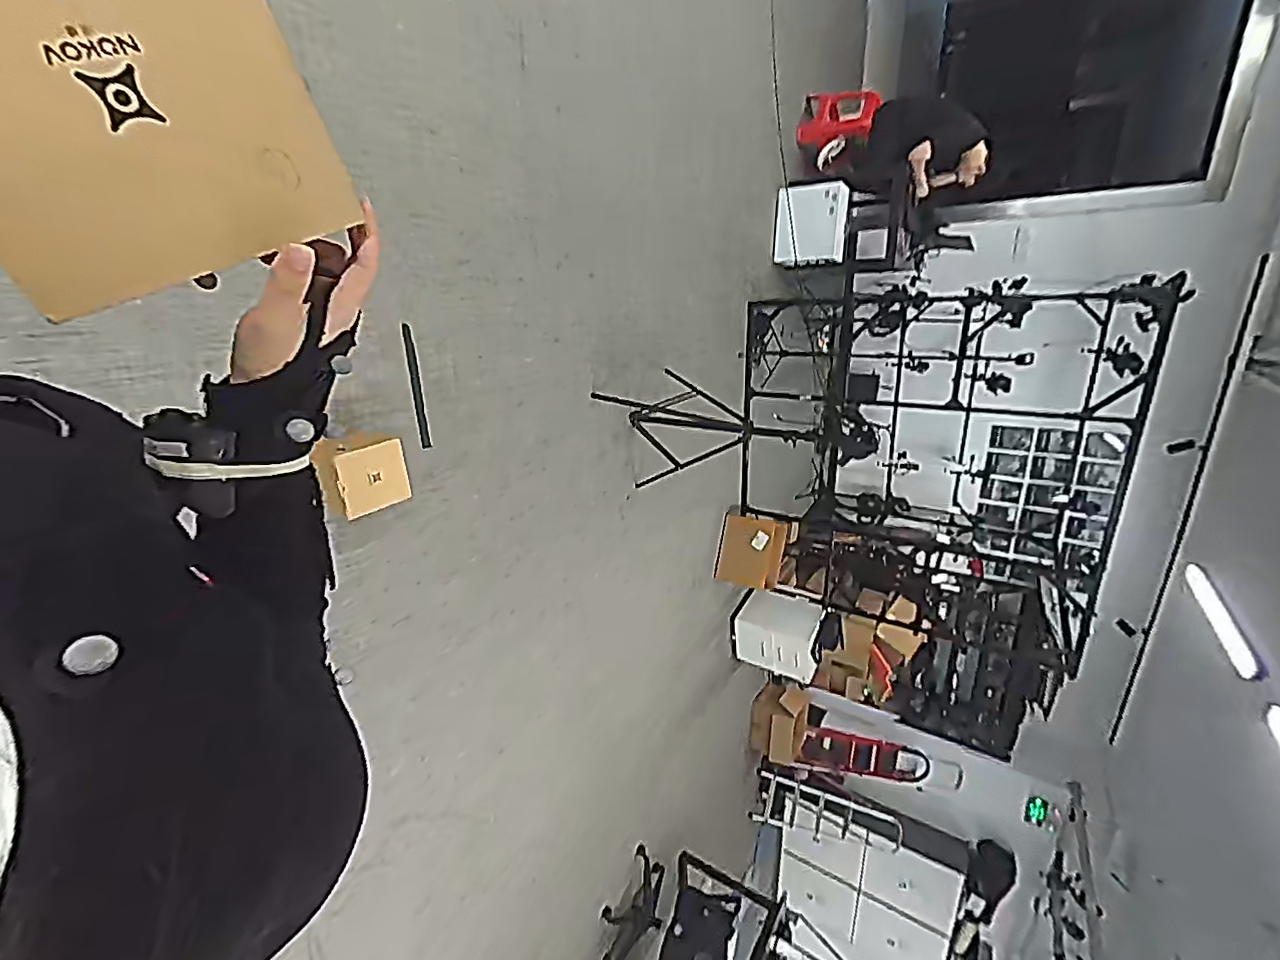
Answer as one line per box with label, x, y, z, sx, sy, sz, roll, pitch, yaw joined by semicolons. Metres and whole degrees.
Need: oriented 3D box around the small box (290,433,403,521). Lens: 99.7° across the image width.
small box;-0.742;-0.016;1.373;0.179;0.176;0.168;-30;124;-51
